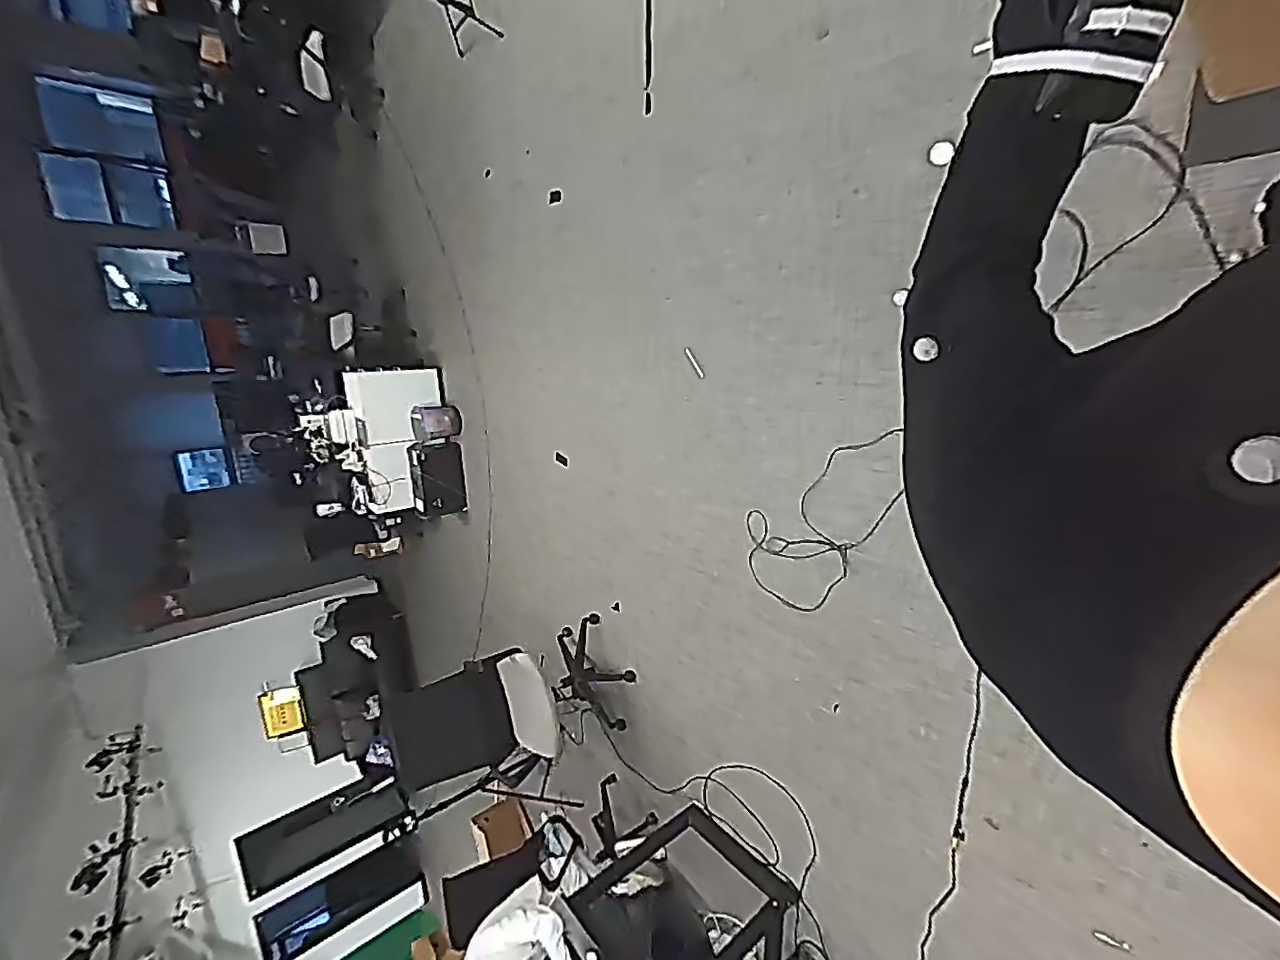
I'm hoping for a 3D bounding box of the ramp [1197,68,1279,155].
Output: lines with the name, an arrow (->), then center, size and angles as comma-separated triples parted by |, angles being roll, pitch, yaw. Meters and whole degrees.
ramp -> 1.105, -1.020, 0.652 | 0.509, 0.206, 0.991 | 12, 109, 49
